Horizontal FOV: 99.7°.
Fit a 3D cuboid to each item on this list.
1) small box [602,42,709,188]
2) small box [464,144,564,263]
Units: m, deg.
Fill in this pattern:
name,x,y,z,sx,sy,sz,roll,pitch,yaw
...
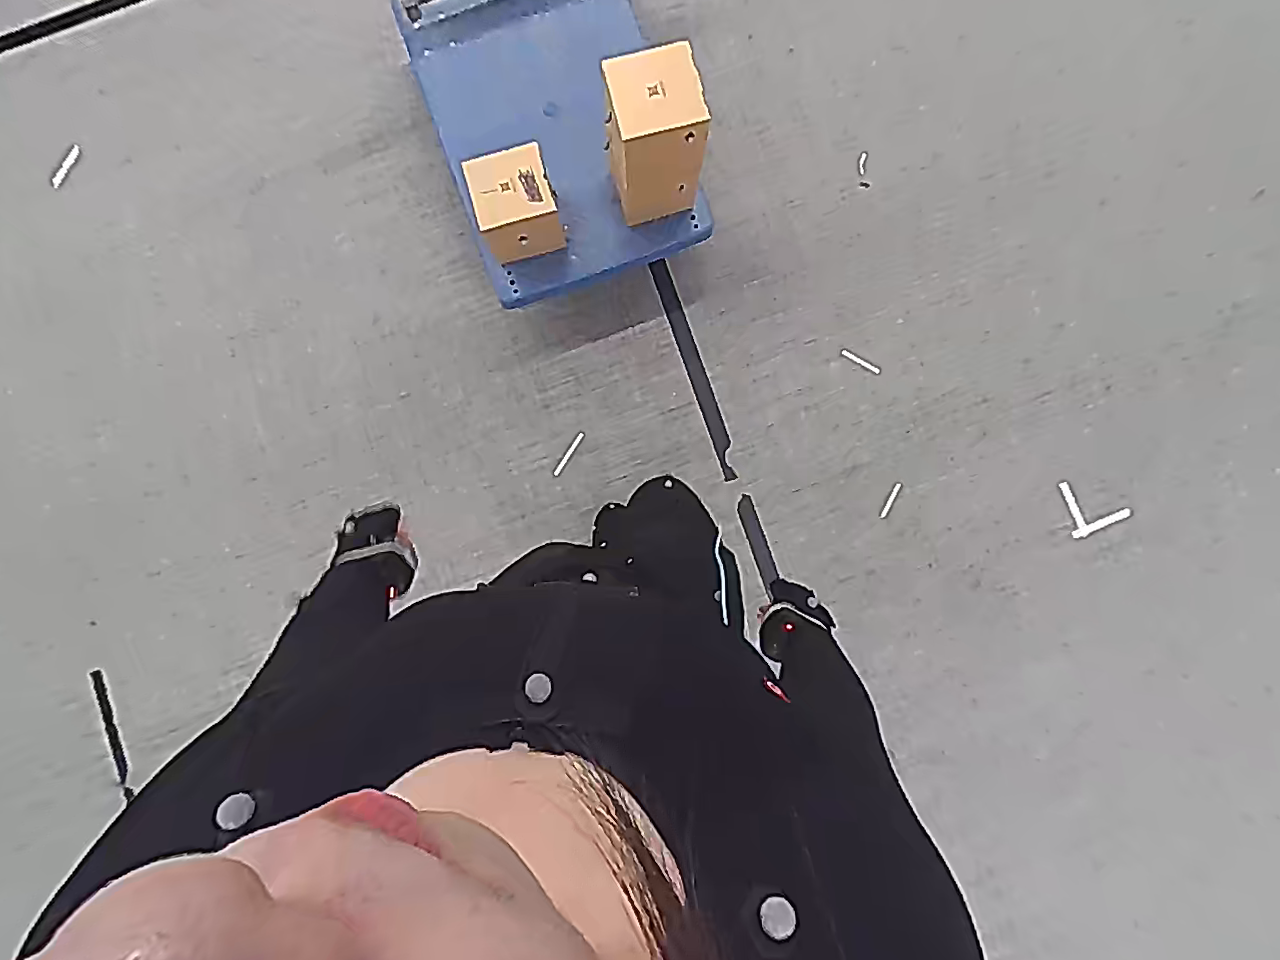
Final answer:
name,x,y,z,sx,sy,sz,roll,pitch,yaw
small box,0.030,-0.734,1.107,0.179,0.176,0.168,-15,87,-2
small box,-0.284,-0.638,1.267,0.179,0.176,0.168,-16,87,0
